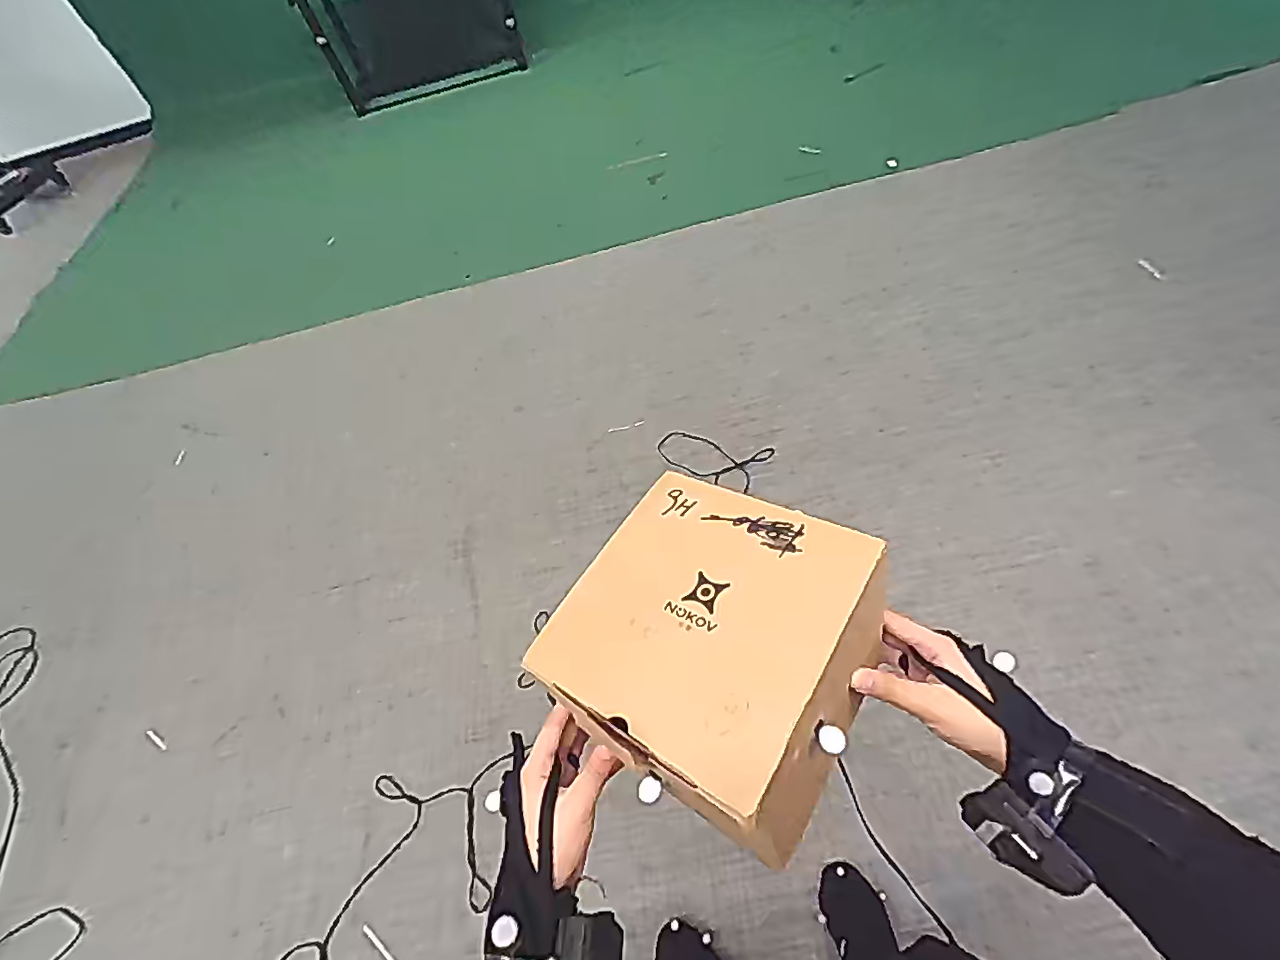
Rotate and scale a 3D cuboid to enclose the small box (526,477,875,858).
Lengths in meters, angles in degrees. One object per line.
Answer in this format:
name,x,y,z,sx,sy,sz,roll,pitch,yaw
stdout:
small box,0.059,0.132,0.392,0.168,0.176,0.179,19,60,35
